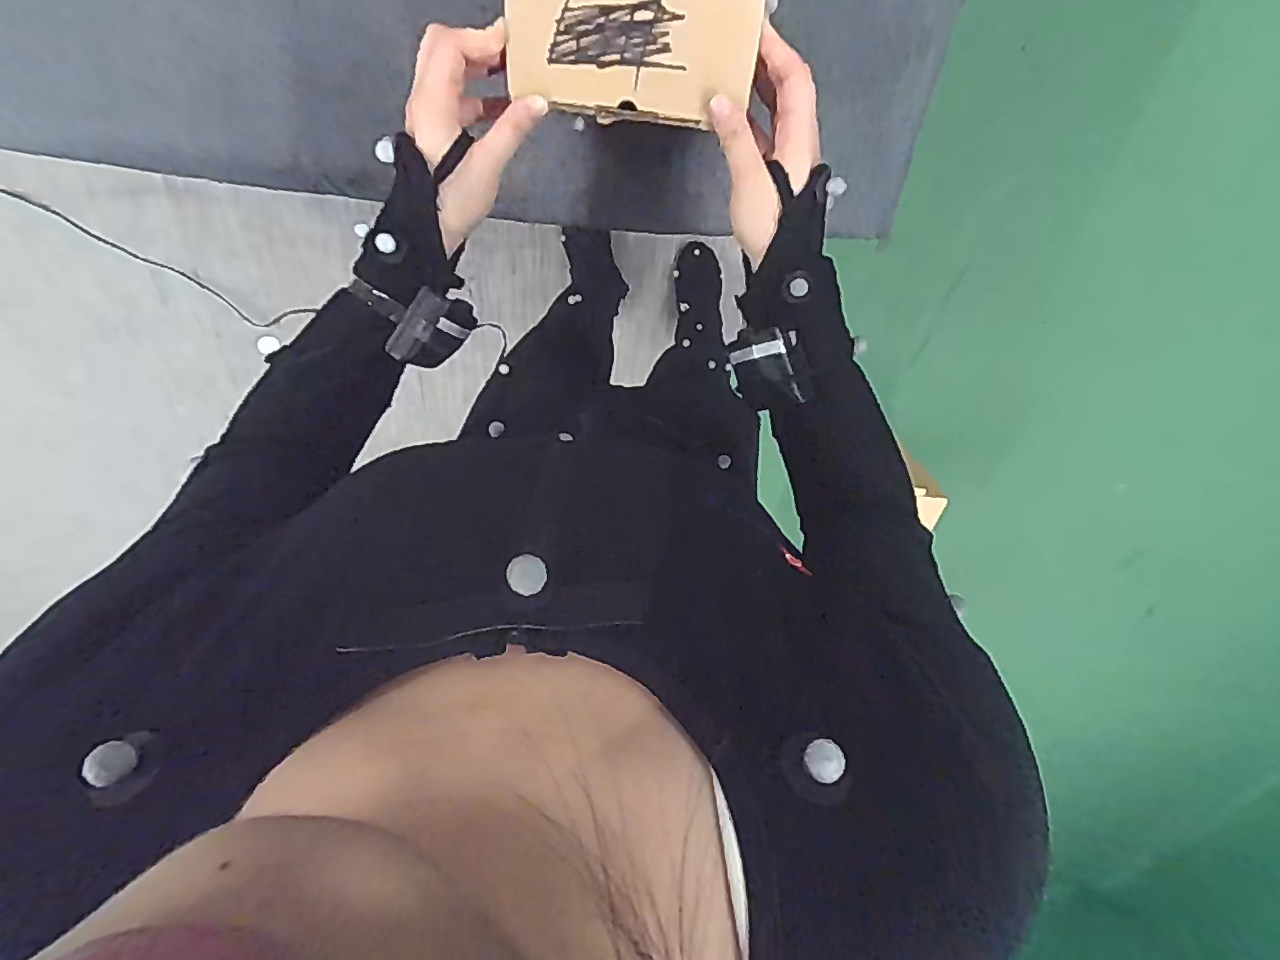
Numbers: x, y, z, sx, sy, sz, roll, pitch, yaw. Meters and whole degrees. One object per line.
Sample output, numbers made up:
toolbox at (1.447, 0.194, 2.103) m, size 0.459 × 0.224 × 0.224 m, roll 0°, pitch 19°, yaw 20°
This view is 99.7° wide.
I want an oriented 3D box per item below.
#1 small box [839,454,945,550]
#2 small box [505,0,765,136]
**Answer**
small box at (0.629, 0.053, 1.378) m, size 0.168 × 0.176 × 0.179 m, roll 7°, pitch 126°, yaw -3°
small box at (0.002, -0.363, 0.391) m, size 0.168 × 0.176 × 0.179 m, roll 6°, pitch 123°, yaw -2°
